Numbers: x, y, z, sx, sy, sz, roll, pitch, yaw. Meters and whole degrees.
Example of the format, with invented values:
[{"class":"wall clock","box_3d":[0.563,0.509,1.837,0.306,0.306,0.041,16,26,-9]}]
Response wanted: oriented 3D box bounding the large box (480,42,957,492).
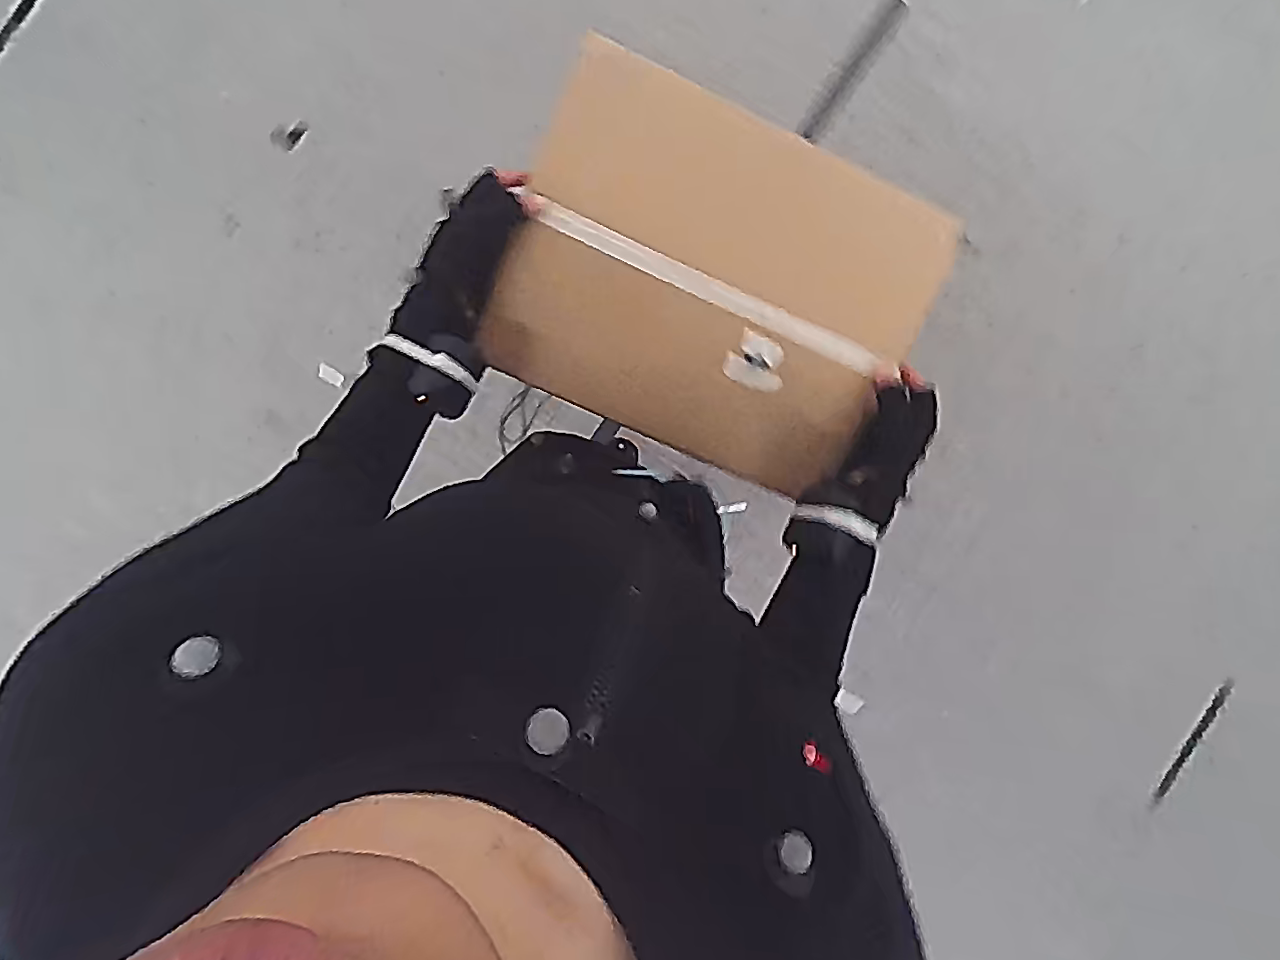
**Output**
[{"class":"large box","box_3d":[0.071,-0.225,0.688,0.408,0.320,0.320,23,101,-6]}]
